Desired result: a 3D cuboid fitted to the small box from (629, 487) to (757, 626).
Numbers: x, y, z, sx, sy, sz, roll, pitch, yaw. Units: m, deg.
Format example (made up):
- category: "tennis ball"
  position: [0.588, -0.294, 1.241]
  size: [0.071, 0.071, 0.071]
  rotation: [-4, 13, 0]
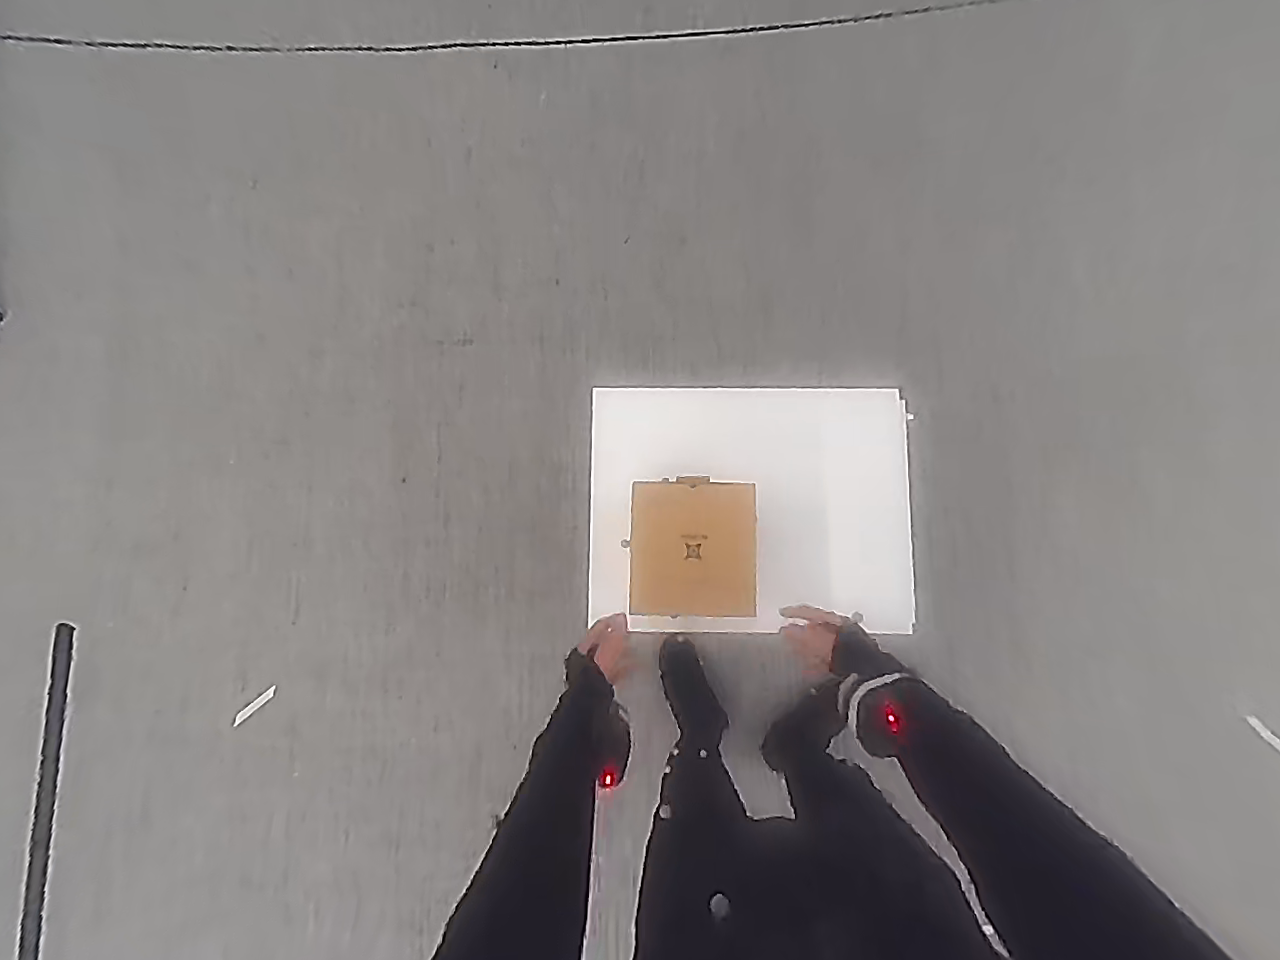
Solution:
- category: "small box"
  position: [0.070, 0.109, 0.778]
  size: [0.168, 0.176, 0.179]
  rotation: [1, 82, 1]
